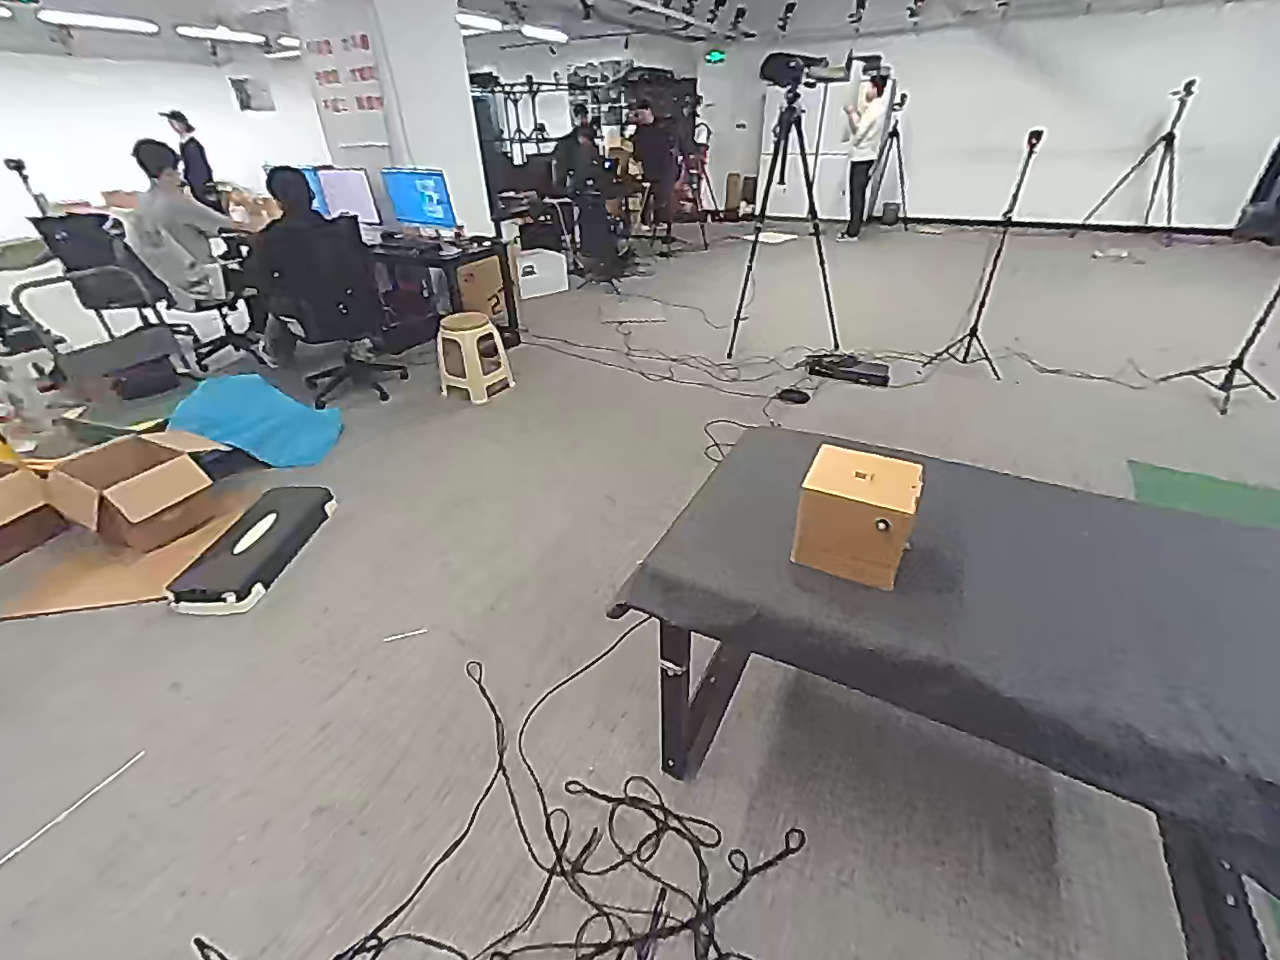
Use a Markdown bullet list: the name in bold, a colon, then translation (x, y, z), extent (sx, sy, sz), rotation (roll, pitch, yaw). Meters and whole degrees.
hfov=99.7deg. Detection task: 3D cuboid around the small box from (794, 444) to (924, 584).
- **small box**: translation (0.386, 0.059, 0.965), extent (0.179, 0.176, 0.168), rotation (15, 37, 24)
